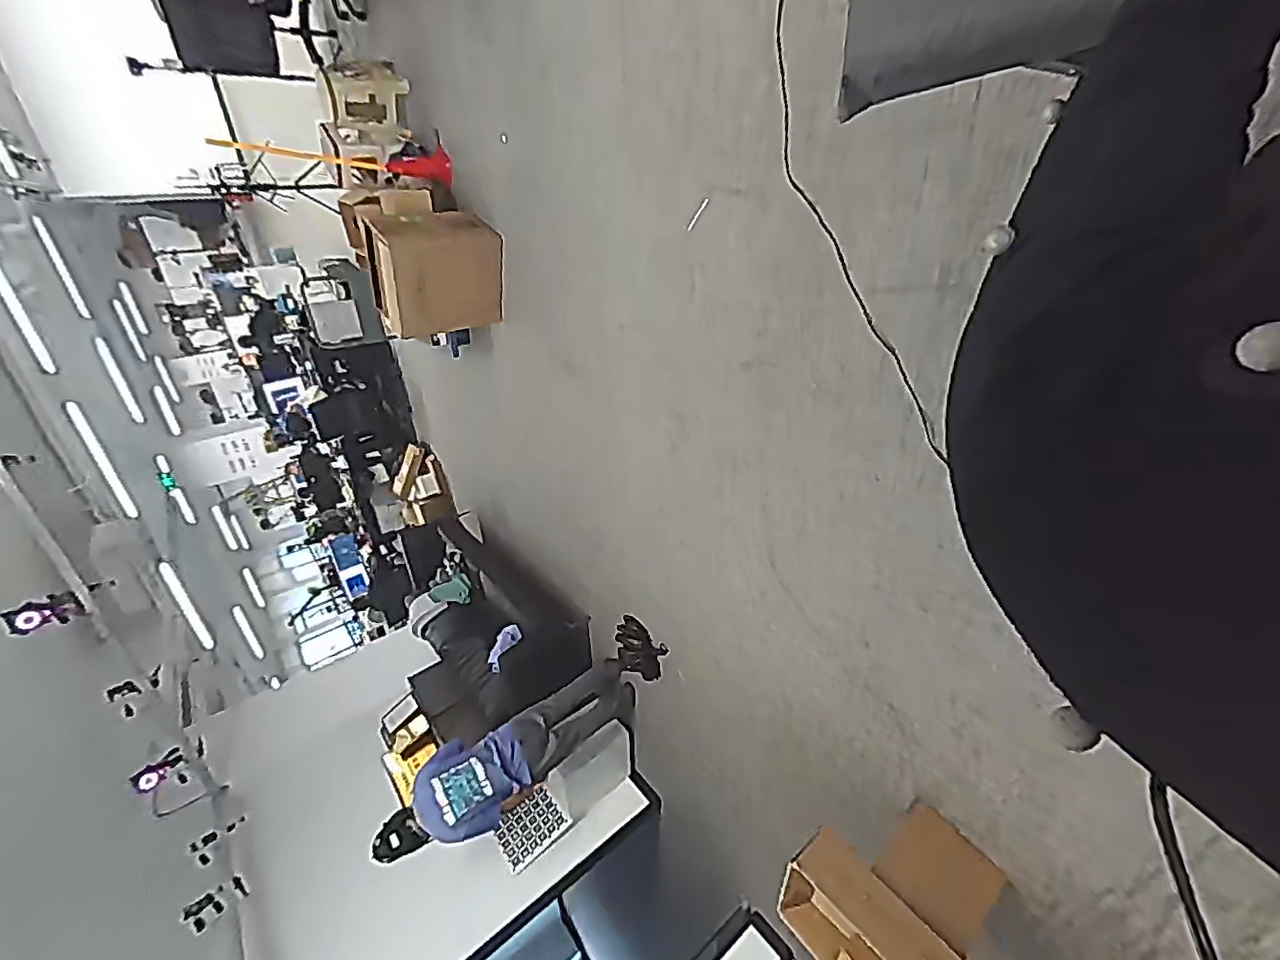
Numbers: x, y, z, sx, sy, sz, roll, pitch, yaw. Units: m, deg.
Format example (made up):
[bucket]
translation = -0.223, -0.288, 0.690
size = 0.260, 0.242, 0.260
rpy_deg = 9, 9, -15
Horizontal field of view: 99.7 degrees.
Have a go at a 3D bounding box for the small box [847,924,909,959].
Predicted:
[small box]
translation = 0.755, 1.565, 1.706
size = 0.168, 0.176, 0.179
rpy_deg = 32, 136, 45
